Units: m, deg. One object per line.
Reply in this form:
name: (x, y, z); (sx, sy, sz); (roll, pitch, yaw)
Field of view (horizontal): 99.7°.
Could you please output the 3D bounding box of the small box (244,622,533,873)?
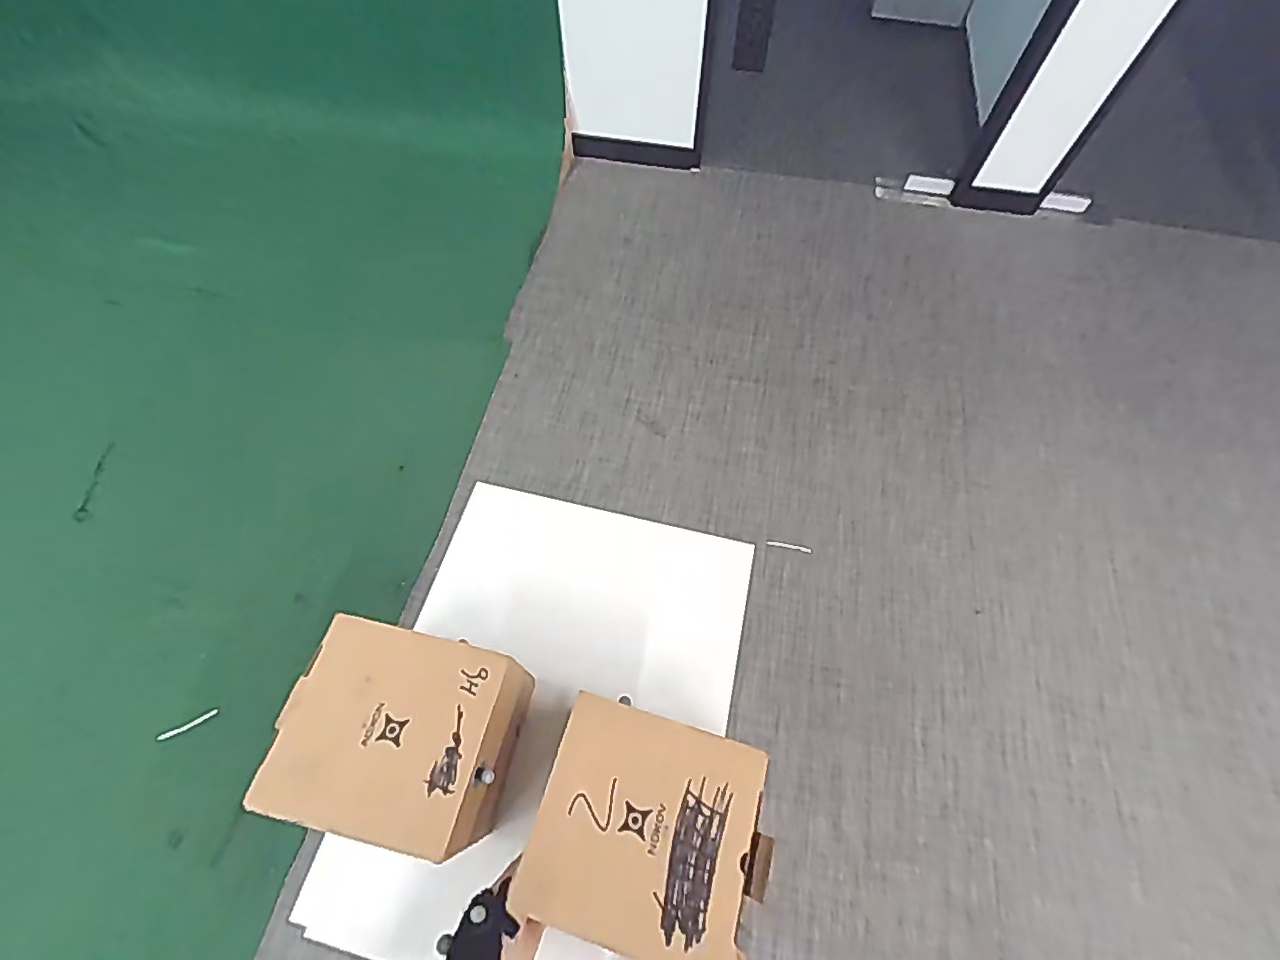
small box: (-0.223, 0.259, 0.539); (0.179, 0.176, 0.168); (13, 63, 5)
